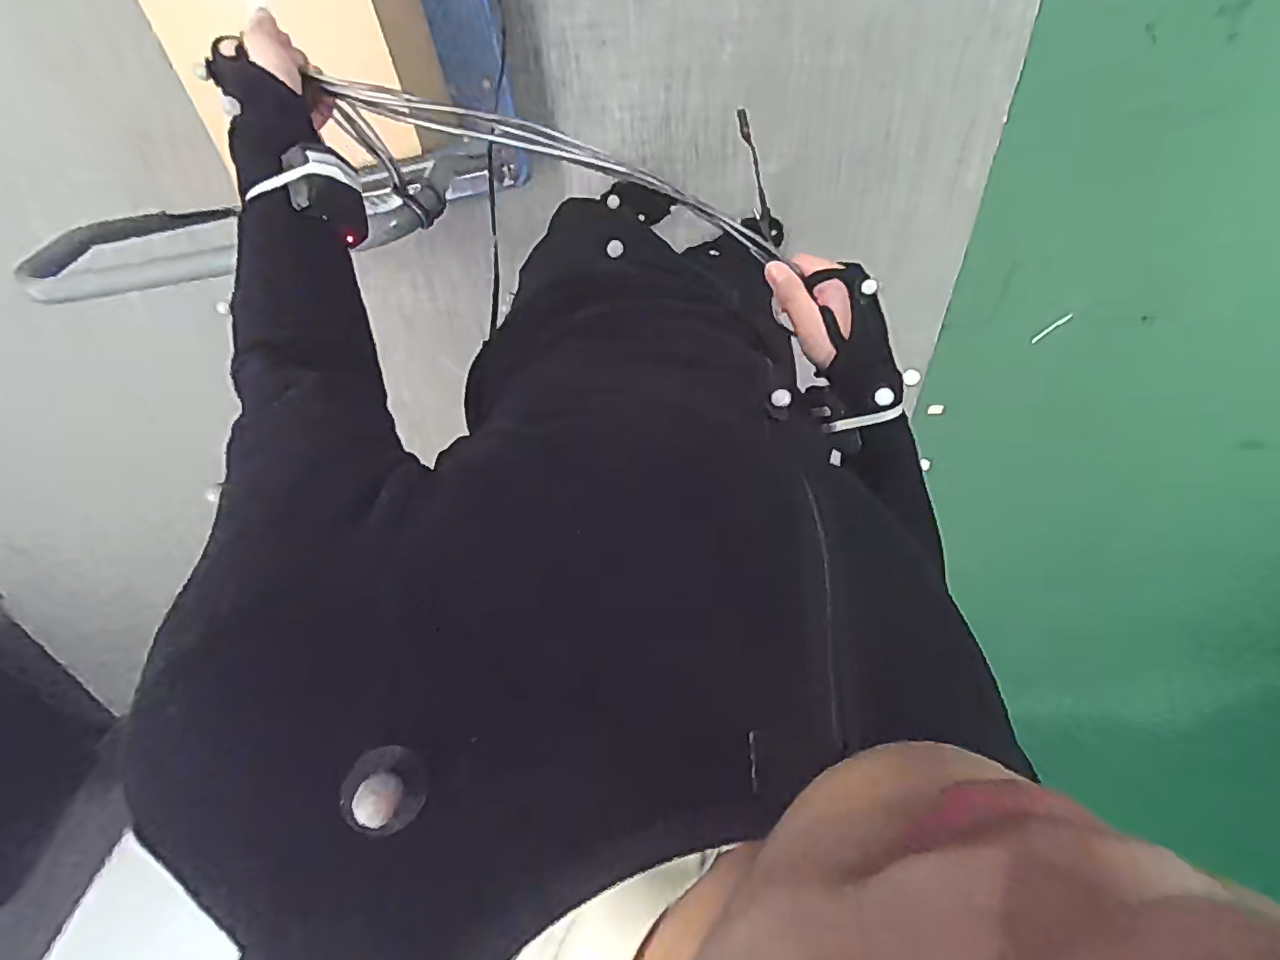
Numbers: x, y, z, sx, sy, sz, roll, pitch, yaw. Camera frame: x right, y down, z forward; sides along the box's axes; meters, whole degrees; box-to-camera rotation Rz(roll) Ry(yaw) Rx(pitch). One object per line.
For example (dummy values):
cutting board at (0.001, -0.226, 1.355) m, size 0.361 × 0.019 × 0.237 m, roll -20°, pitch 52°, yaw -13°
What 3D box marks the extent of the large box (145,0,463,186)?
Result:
large box at (-0.532, -0.742, 0.874) m, size 0.320 × 0.320 × 0.408 m, roll -10°, pitch 125°, yaw 3°
